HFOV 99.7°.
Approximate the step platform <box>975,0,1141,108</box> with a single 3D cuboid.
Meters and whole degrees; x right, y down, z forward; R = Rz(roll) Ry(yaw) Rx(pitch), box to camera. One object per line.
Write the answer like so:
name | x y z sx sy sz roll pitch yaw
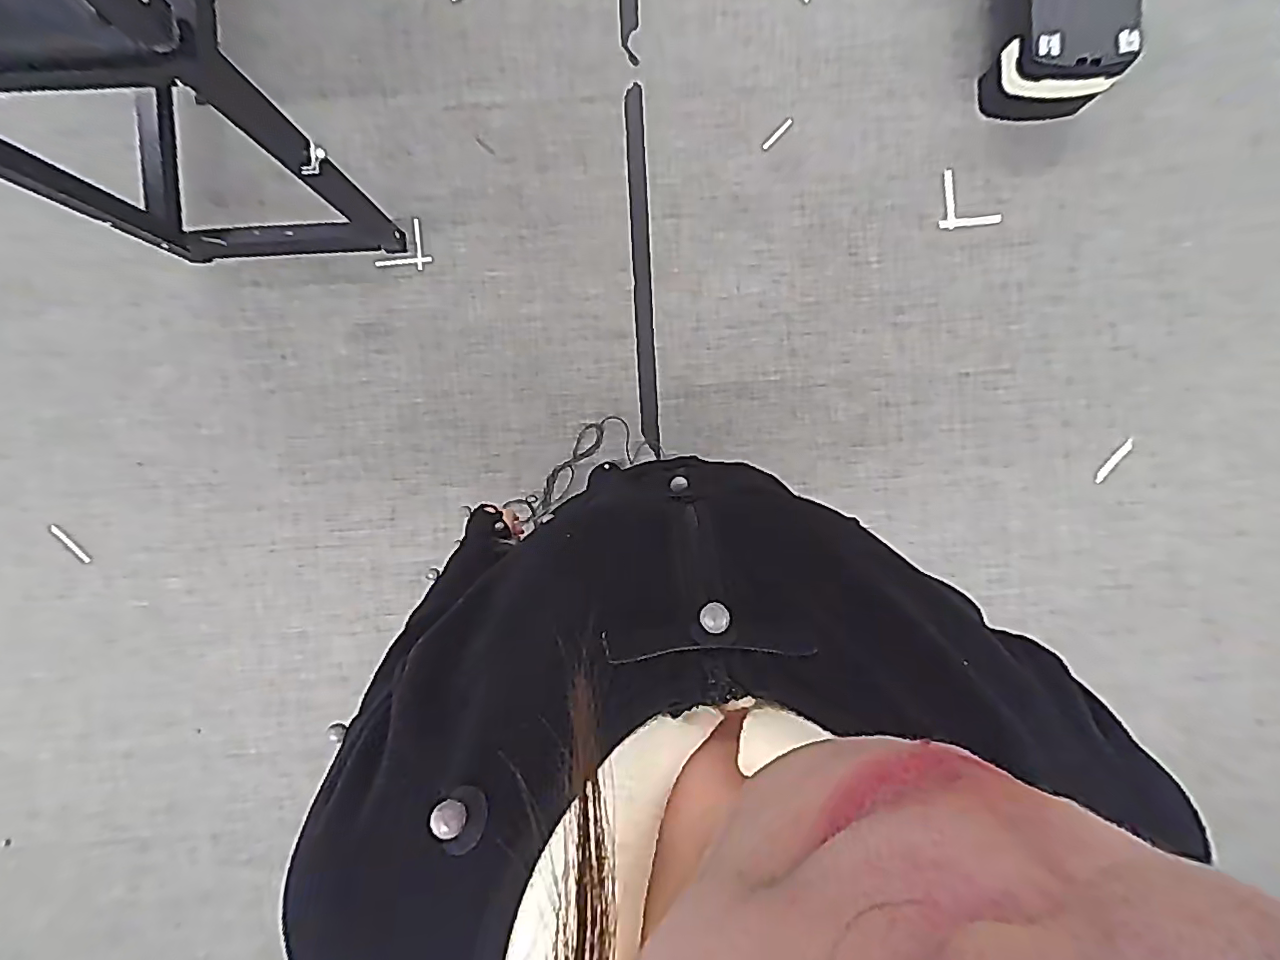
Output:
step platform | 1.061 -1.345 1.358 0.286 0.204 0.684 2 91 -1
